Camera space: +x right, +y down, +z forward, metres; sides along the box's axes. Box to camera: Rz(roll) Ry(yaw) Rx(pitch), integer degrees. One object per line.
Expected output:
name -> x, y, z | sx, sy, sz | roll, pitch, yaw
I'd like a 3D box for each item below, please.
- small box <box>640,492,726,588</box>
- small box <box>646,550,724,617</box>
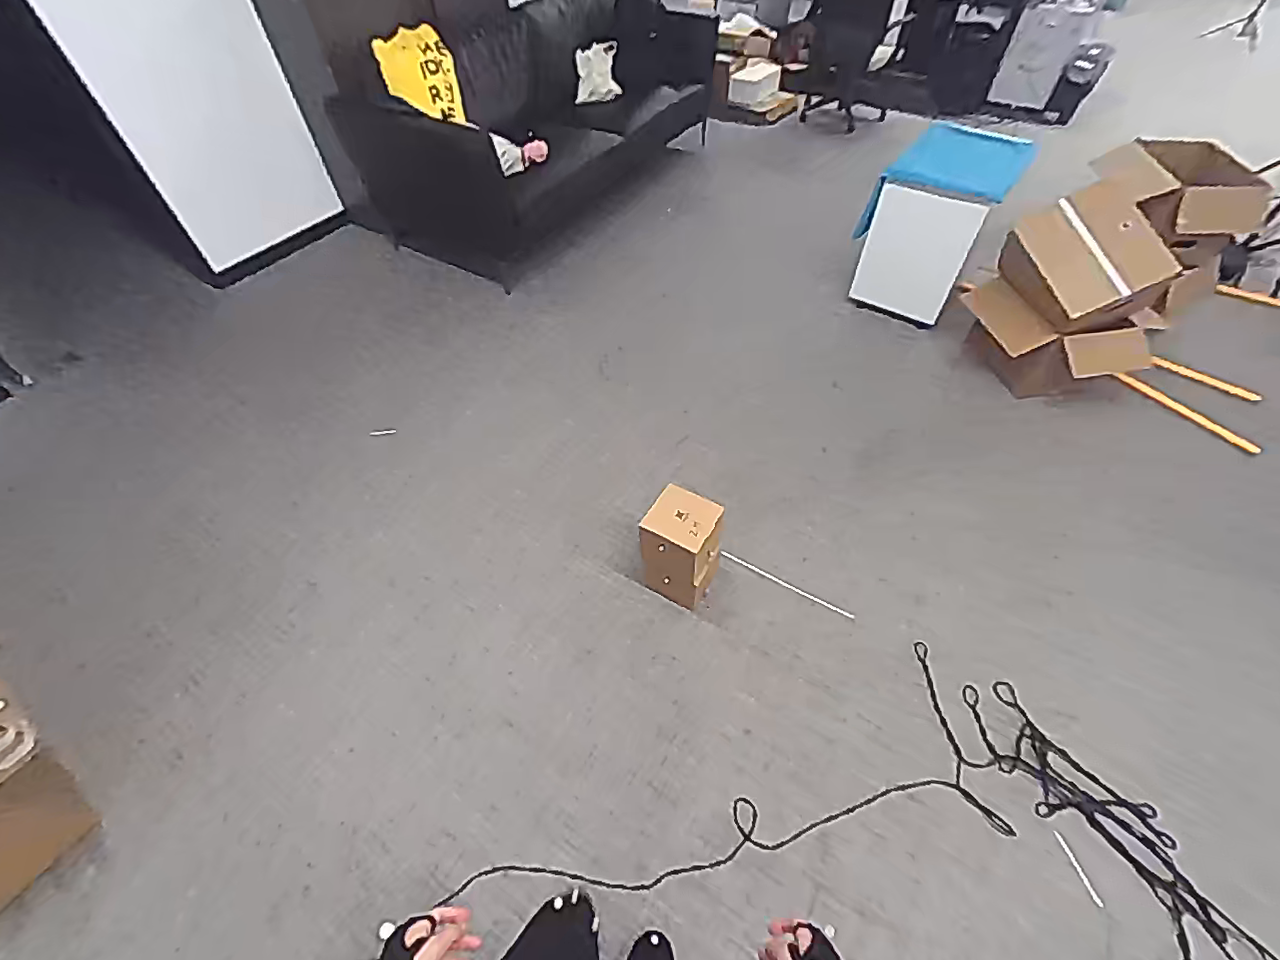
small box -> 0.118, 0.169, 1.487 | 0.179, 0.176, 0.168 | 25, 56, 21
small box -> 0.132, 0.278, 1.610 | 0.179, 0.176, 0.168 | 25, 56, 21
